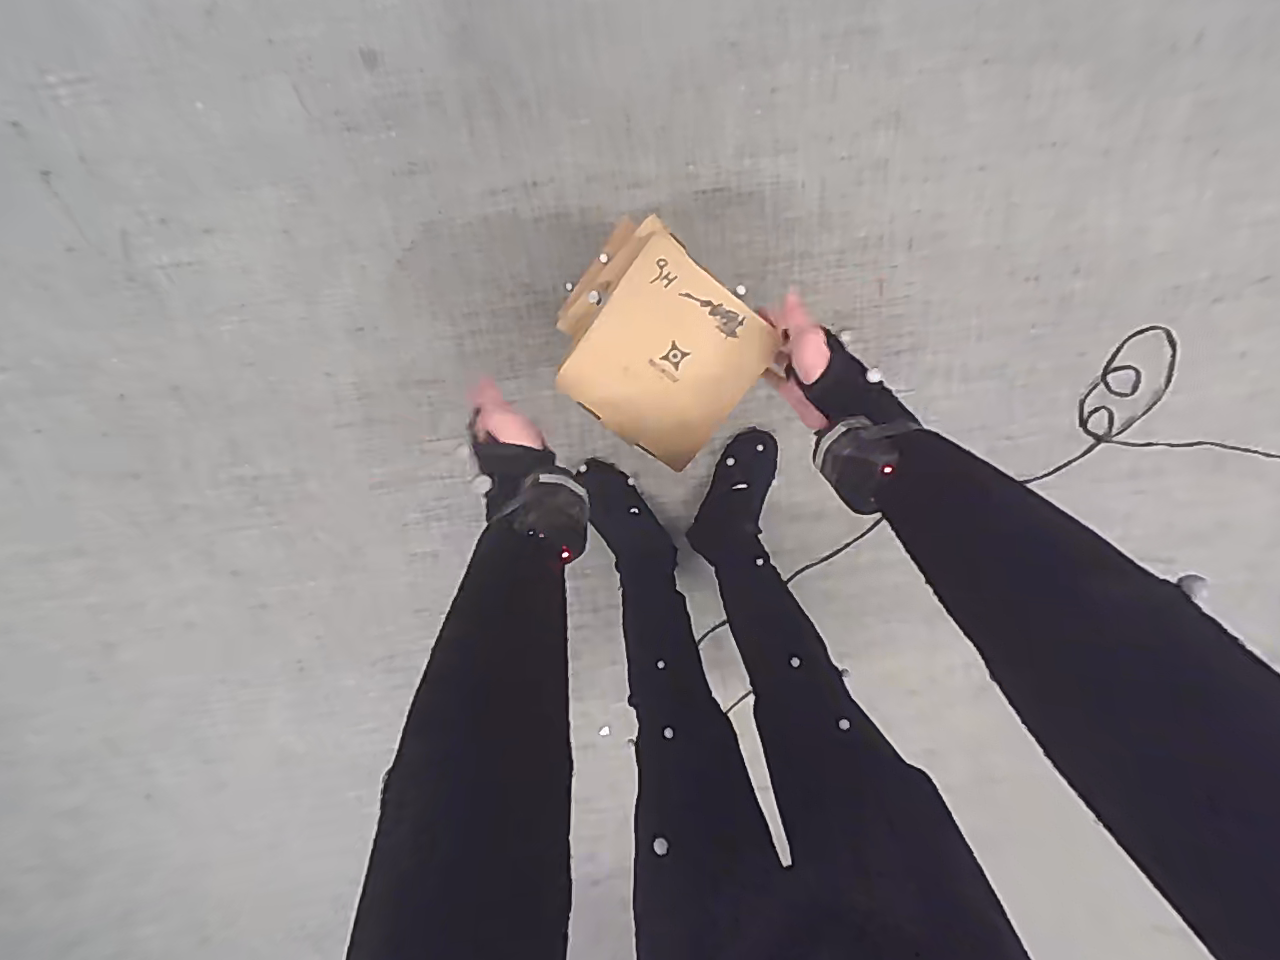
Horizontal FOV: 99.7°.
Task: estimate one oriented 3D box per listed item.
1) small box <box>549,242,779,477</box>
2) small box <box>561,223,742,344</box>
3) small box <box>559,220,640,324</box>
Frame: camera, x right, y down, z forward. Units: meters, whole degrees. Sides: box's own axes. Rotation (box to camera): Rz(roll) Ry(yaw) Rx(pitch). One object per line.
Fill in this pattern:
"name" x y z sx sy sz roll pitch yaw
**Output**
"small box" 0.022 -0.140 0.608 0.168 0.176 0.179 35 107 -16
"small box" 0.009 -0.225 0.749 0.168 0.176 0.179 41 105 -17
"small box" -0.015 -0.296 0.897 0.168 0.176 0.179 33 104 -16
